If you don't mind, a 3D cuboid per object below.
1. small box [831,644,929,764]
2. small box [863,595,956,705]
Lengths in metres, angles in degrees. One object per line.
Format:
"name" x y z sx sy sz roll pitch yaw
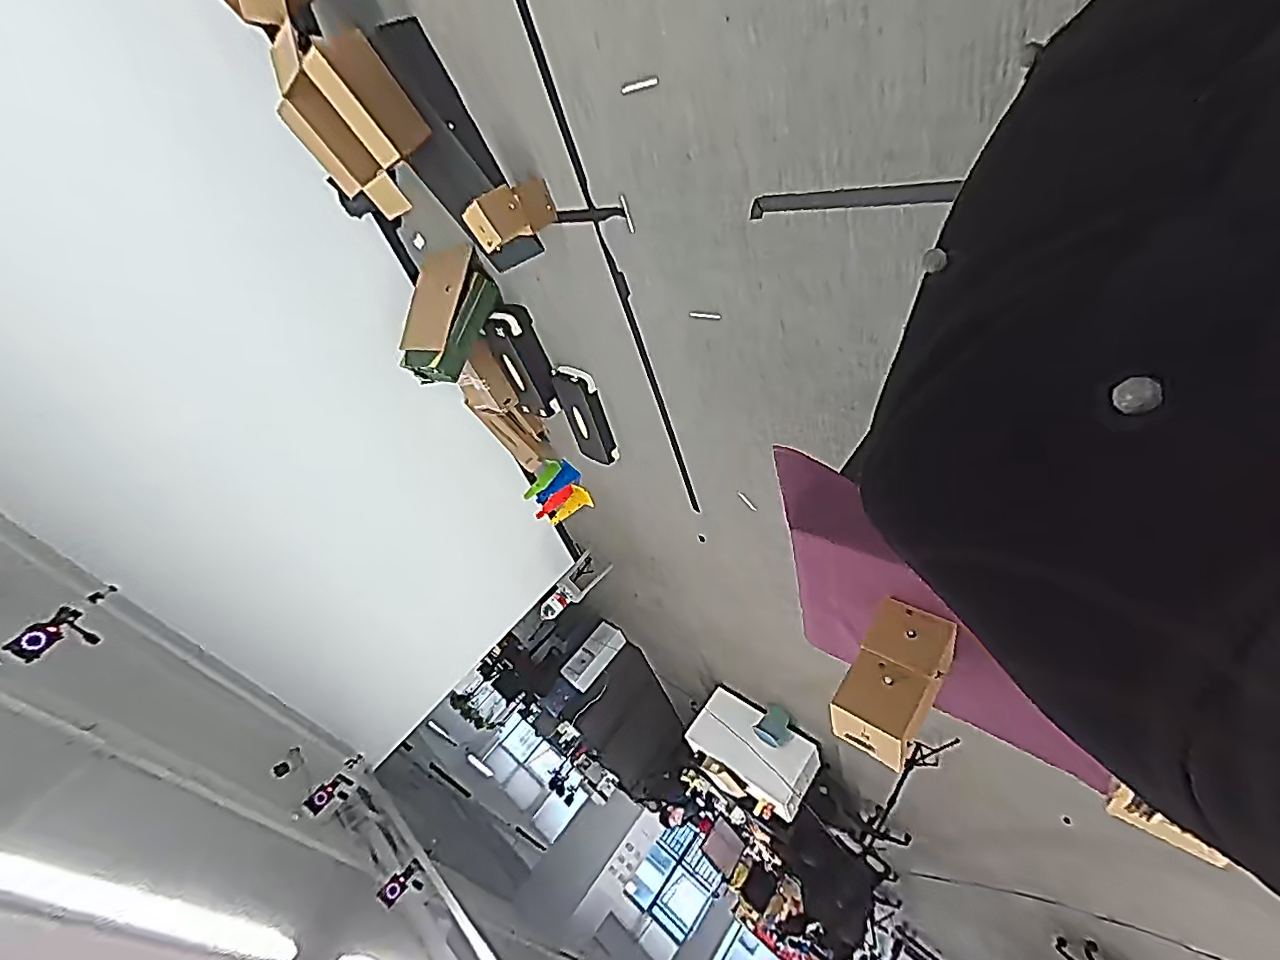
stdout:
"small box" 0.582 0.536 1.307 0.168 0.176 0.179 20 145 39
"small box" 0.682 0.424 1.373 0.168 0.176 0.179 20 145 40
